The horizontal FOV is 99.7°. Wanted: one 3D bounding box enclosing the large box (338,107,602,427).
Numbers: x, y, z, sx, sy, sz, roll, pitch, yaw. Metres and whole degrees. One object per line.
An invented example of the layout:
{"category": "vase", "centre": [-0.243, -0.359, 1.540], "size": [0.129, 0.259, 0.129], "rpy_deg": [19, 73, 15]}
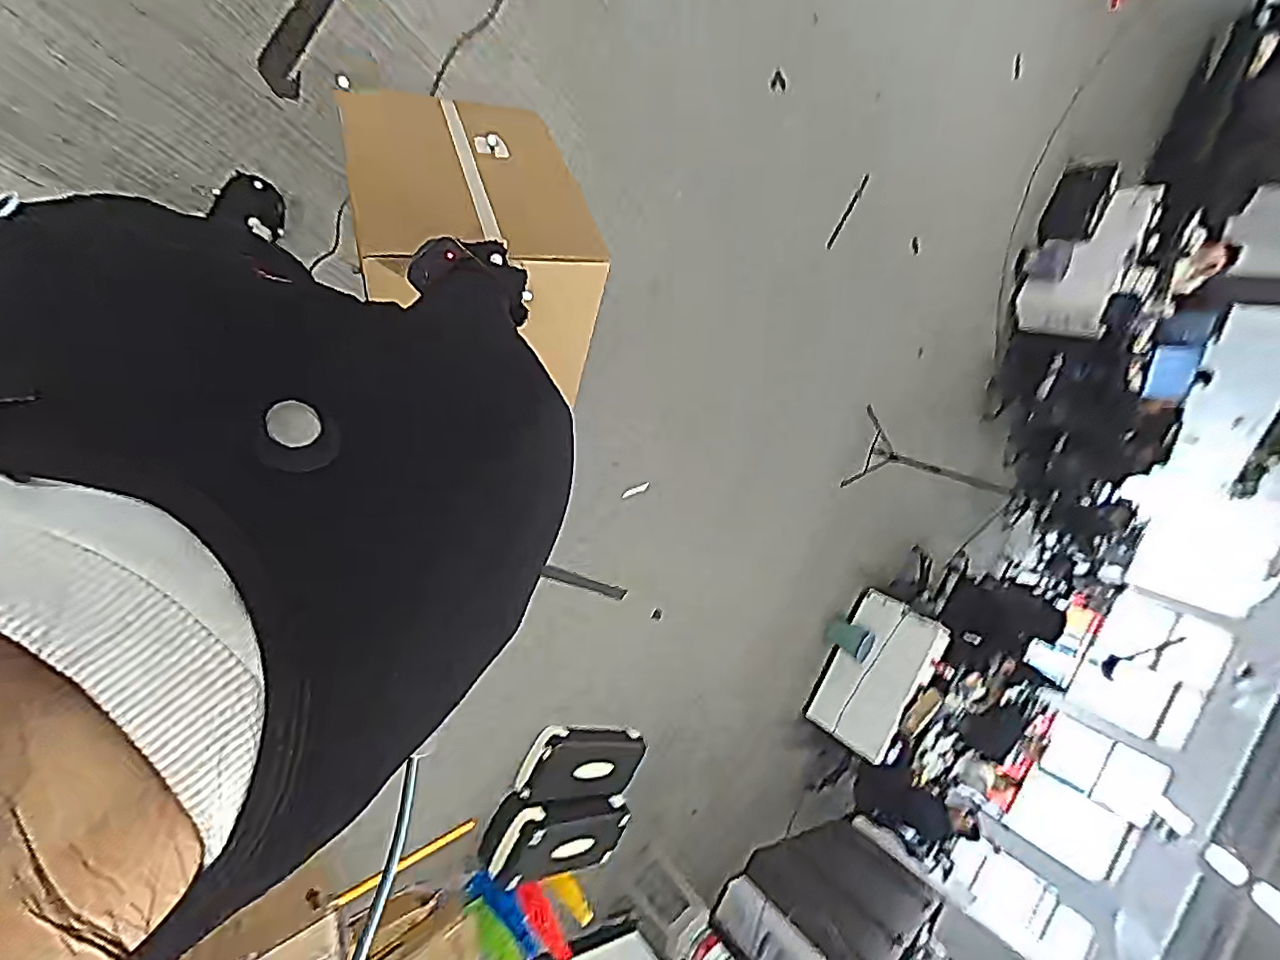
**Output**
{"category": "large box", "centre": [-0.298, -0.348, 0.914], "size": [0.320, 0.408, 0.320], "rpy_deg": [-8, 148, -26]}
